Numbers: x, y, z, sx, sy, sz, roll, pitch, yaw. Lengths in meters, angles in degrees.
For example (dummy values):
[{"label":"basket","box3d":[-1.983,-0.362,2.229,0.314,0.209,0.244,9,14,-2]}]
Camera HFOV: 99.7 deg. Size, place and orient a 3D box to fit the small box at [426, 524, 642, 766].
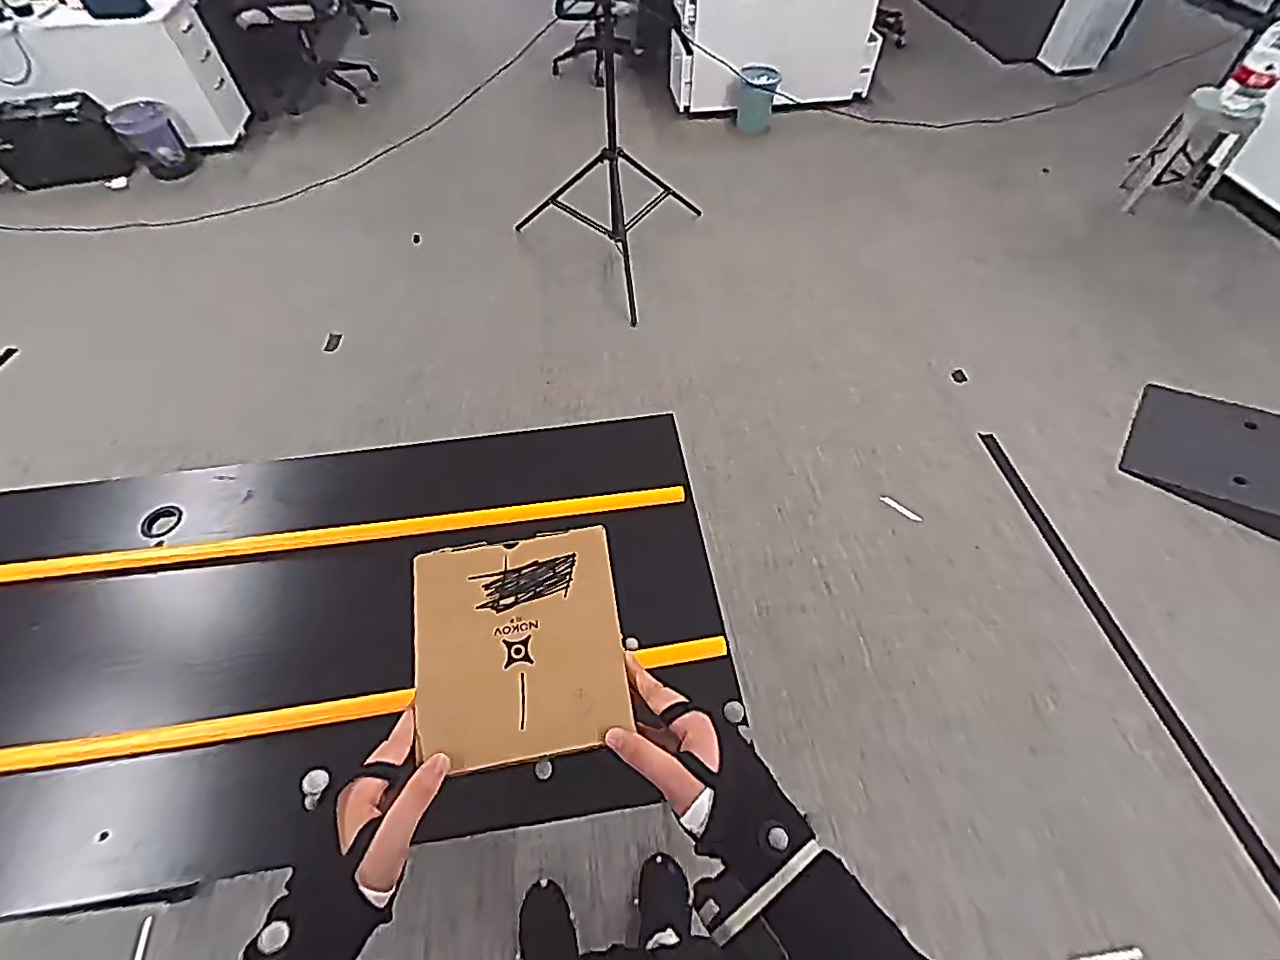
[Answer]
[{"label":"small box","box3d":[-0.095,0.163,0.518,0.168,0.176,0.179,-9,64,-5]}]
